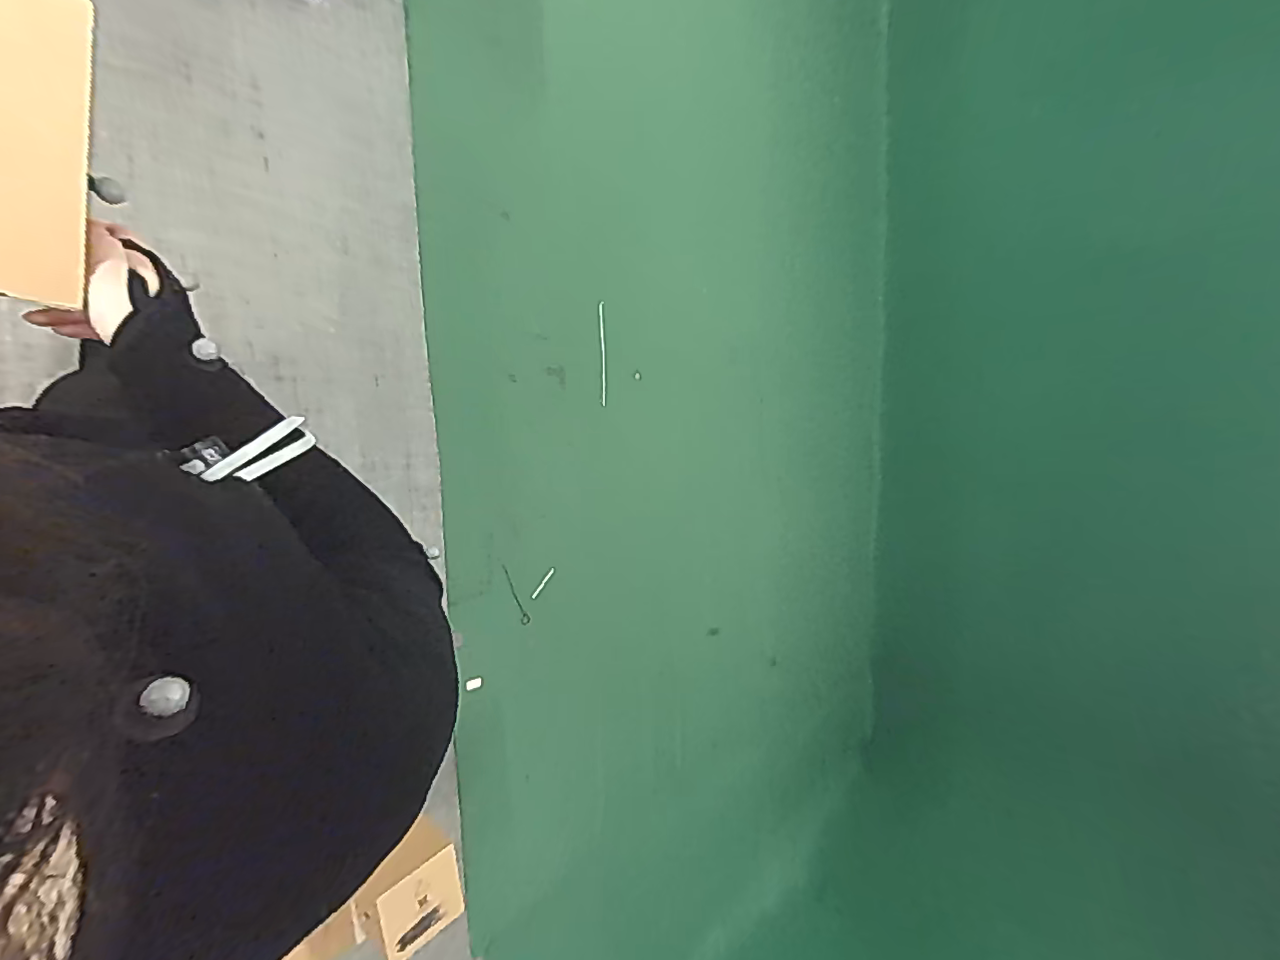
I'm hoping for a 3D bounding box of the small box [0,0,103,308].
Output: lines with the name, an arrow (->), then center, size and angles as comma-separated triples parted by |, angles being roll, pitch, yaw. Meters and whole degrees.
small box -> -0.441, -0.216, 0.321 | 0.168, 0.176, 0.179 | 1, 107, -46
